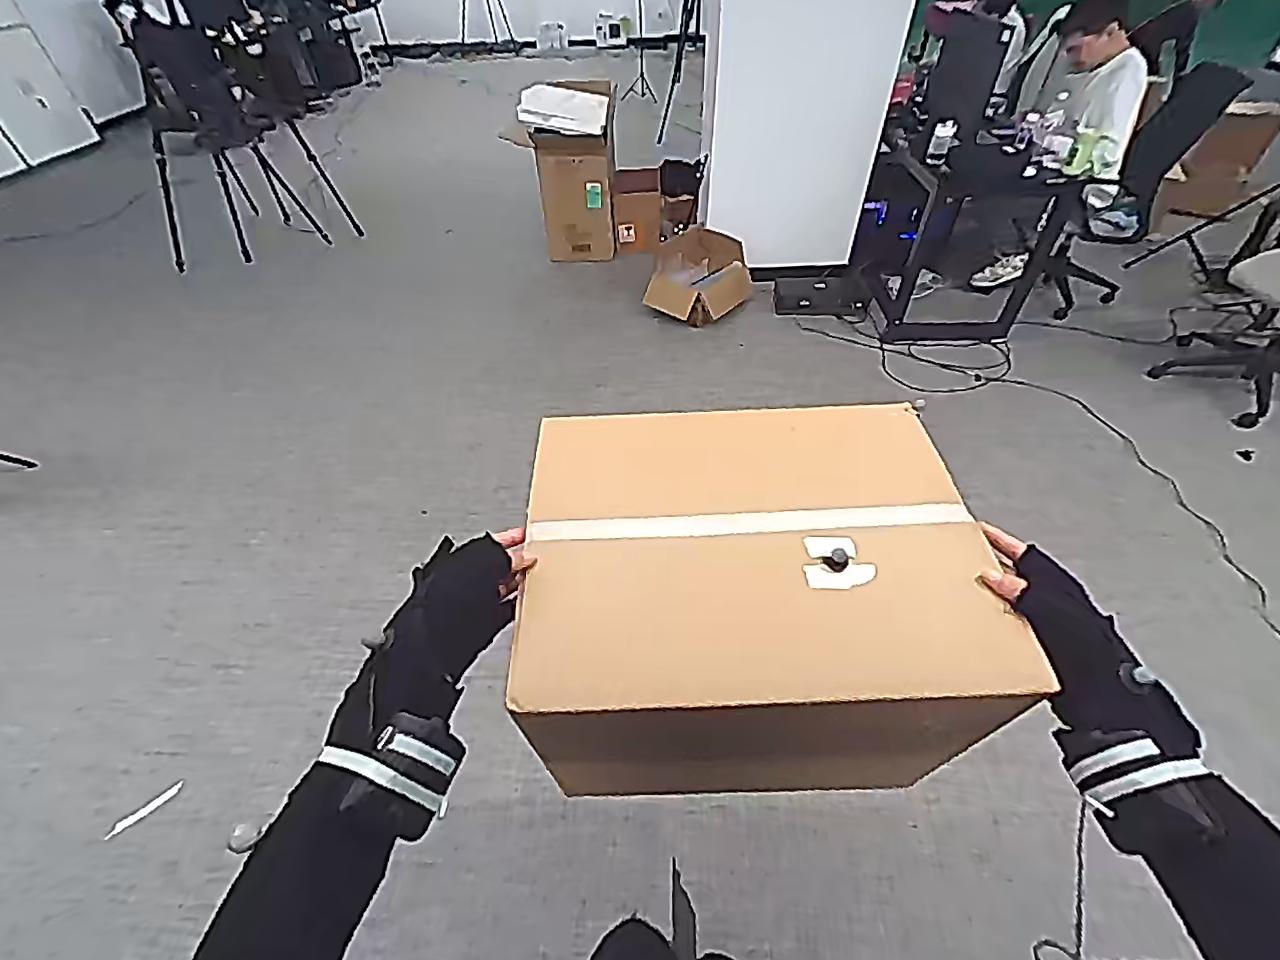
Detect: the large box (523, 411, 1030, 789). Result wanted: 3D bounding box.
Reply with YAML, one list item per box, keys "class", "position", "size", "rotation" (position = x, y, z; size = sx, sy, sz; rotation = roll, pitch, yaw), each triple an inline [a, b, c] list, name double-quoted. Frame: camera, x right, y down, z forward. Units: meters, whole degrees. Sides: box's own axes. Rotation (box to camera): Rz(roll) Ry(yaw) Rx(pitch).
- class: "large box"
  position: [0.103, 0.143, 0.623]
  size: [0.408, 0.320, 0.320]
  rotation: [-2, 50, 0]
